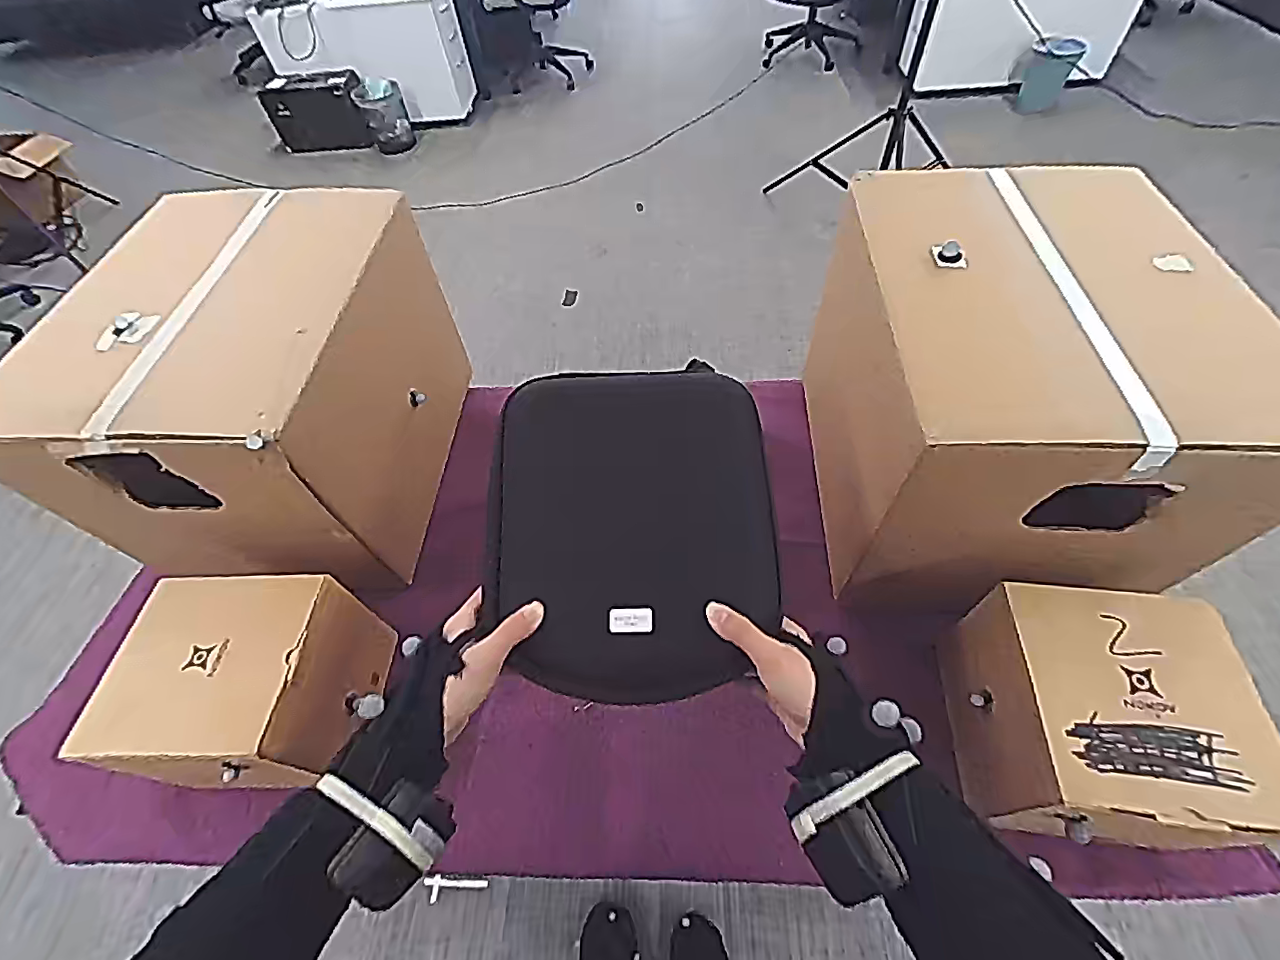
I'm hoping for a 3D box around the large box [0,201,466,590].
[{"bbox_3d":[-0.448,-0.102,0.700,0.320,0.320,0.408,-1,56,2],"label":"large box"}]
